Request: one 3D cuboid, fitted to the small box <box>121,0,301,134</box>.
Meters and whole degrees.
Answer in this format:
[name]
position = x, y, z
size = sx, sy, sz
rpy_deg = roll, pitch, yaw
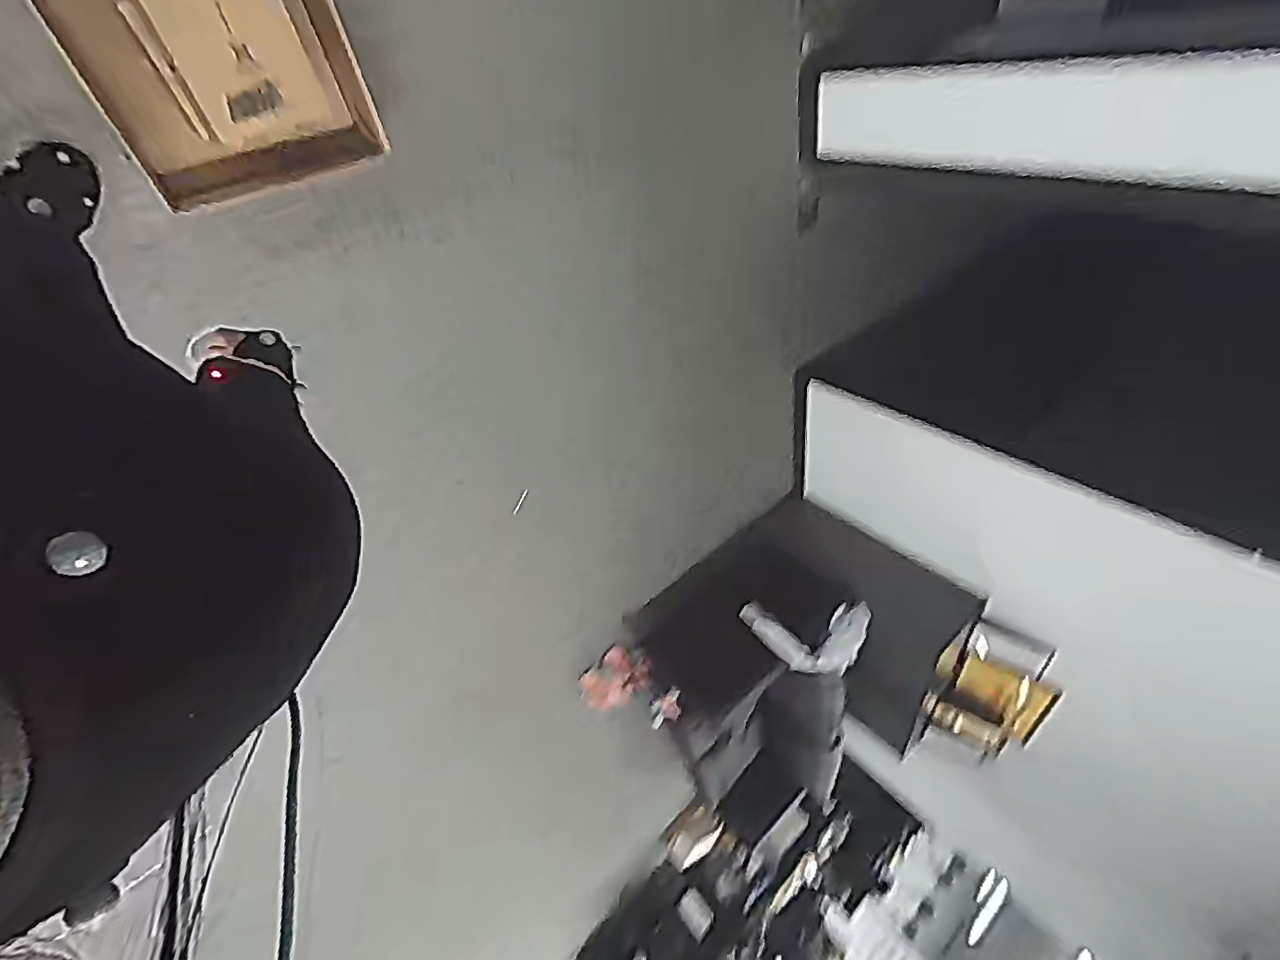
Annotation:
[small box]
position = -0.710, -0.698, 0.902
size = 0.168, 0.176, 0.179
rpy_deg = -33, 133, -21
